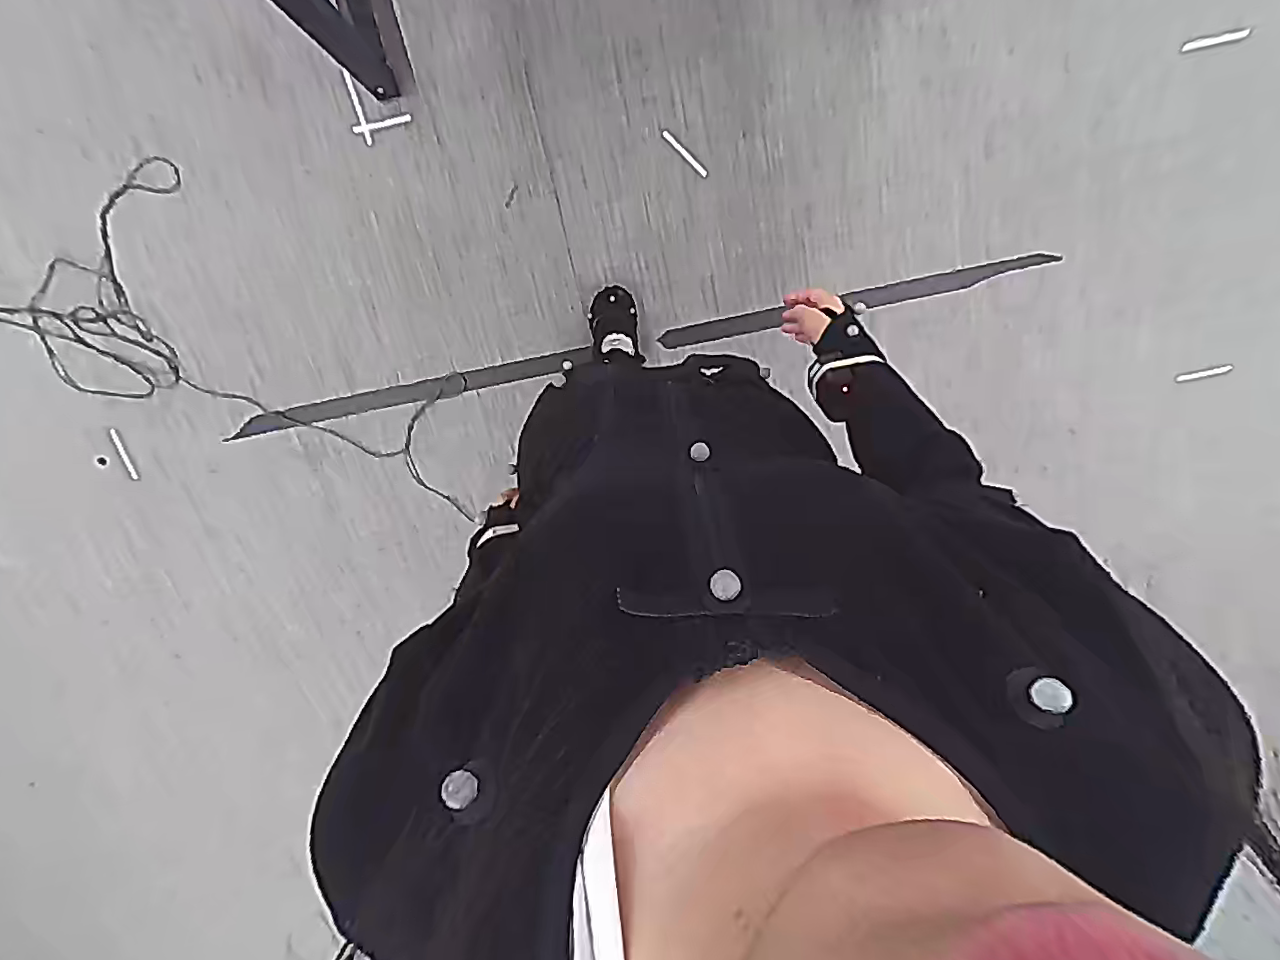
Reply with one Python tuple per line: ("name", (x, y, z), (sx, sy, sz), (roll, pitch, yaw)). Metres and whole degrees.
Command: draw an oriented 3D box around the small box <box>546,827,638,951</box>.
("small box", (-0.124, 1.060, 1.411), (0.168, 0.176, 0.179), (38, 102, -12))
